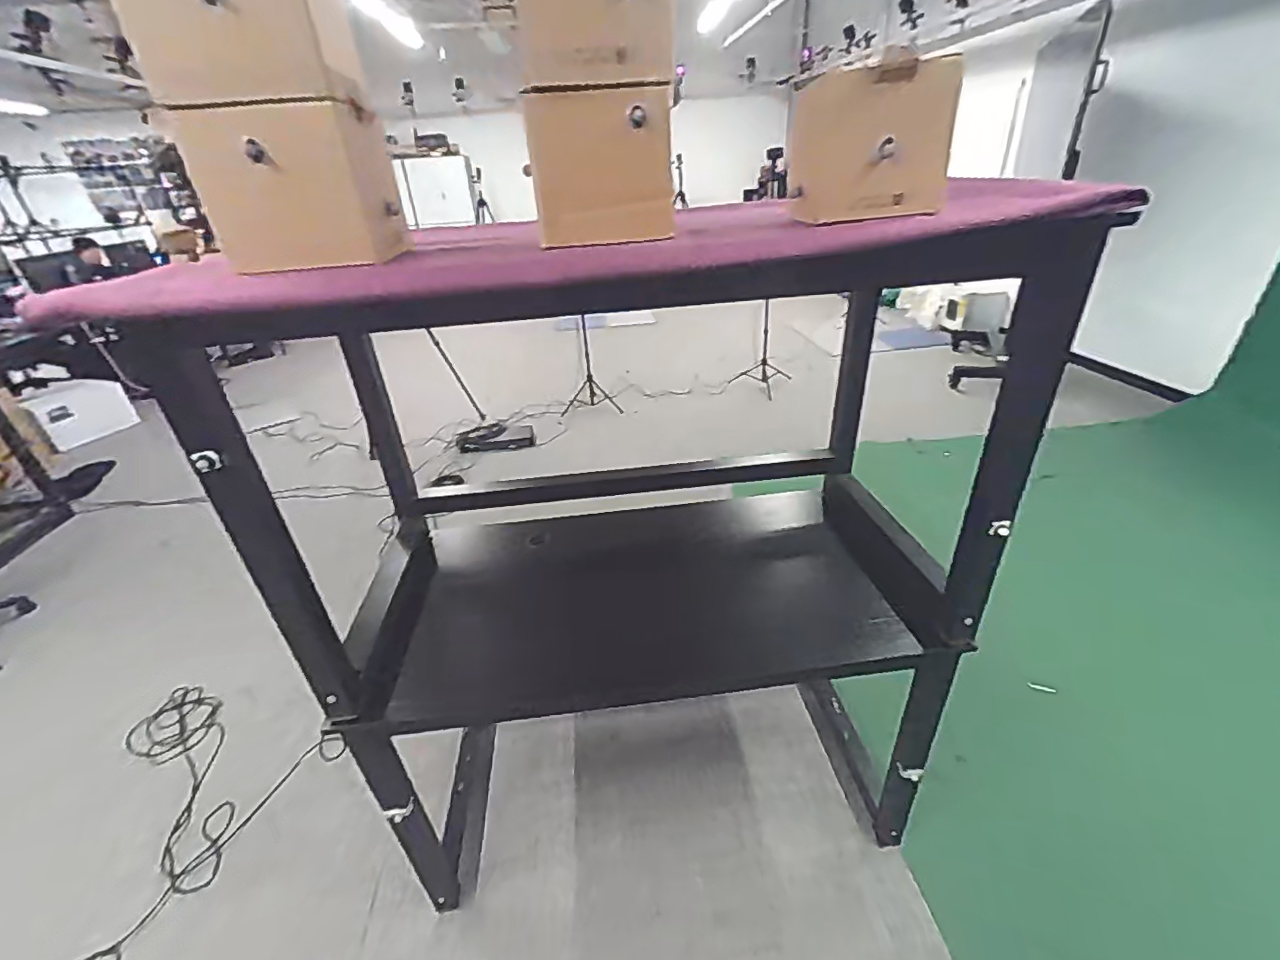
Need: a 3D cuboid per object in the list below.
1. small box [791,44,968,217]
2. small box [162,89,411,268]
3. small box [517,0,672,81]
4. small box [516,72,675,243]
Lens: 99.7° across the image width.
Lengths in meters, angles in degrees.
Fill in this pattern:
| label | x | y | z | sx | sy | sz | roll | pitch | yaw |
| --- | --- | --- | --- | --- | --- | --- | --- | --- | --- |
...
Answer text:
| label | x | y | z | sx | sy | sz | roll | pitch | yaw |
| --- | --- | --- | --- | --- | --- | --- | --- | --- | --- |
| small box | 0.305 | -0.455 | 0.729 | 0.168 | 0.176 | 0.179 | -4 | 28 | 4 |
| small box | -0.411 | -0.365 | 0.668 | 0.179 | 0.176 | 0.168 | -6 | 31 | -4 |
| small box | -0.057 | -0.553 | 0.630 | 0.168 | 0.176 | 0.179 | -5 | 28 | -6 |
| small box | -0.053 | -0.411 | 0.708 | 0.179 | 0.176 | 0.168 | -6 | 29 | -3 |
